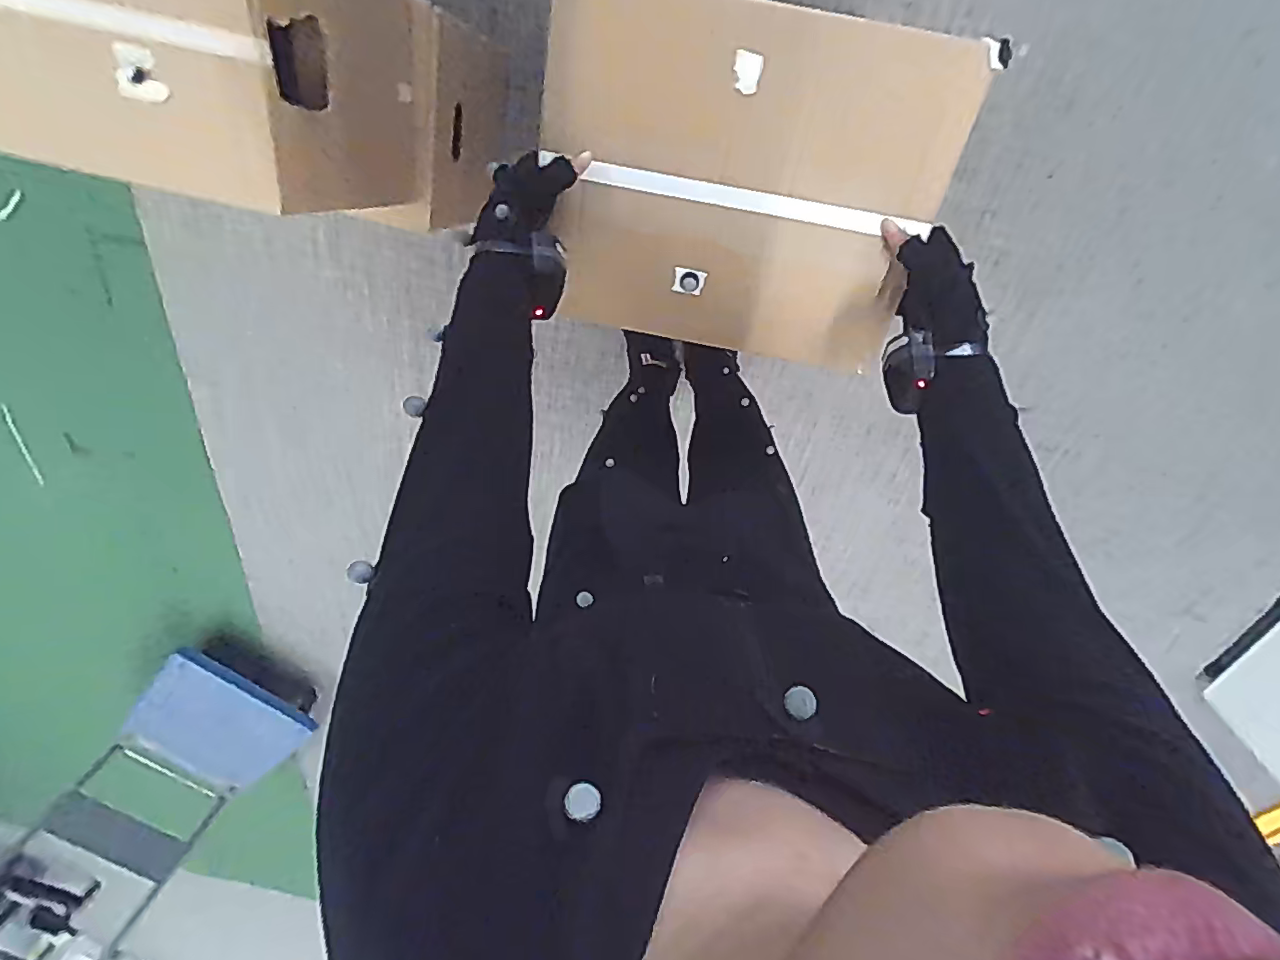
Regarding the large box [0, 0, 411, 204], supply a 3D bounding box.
[{"bbox_3d":[-0.555,-0.561,0.684,0.408,0.320,0.320,14,119,0],"label":"large box"}]
